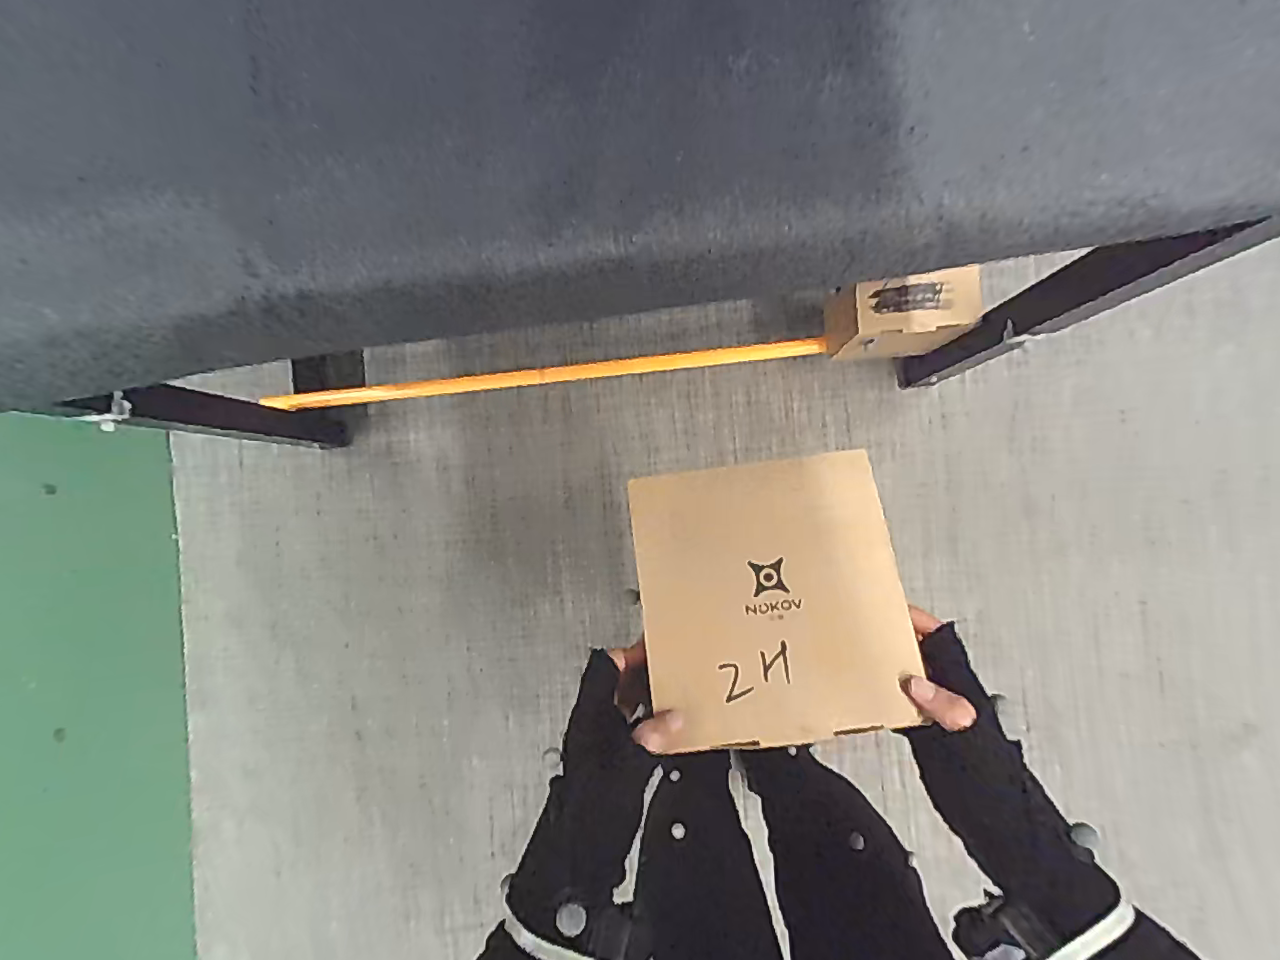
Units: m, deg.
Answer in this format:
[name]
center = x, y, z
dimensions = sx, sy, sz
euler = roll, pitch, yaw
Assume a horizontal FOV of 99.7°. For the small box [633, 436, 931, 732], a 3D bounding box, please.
[small box]
center = 0.087, 0.085, 0.422
dimensions = 0.168, 0.176, 0.179
euler = -8, 72, 2
